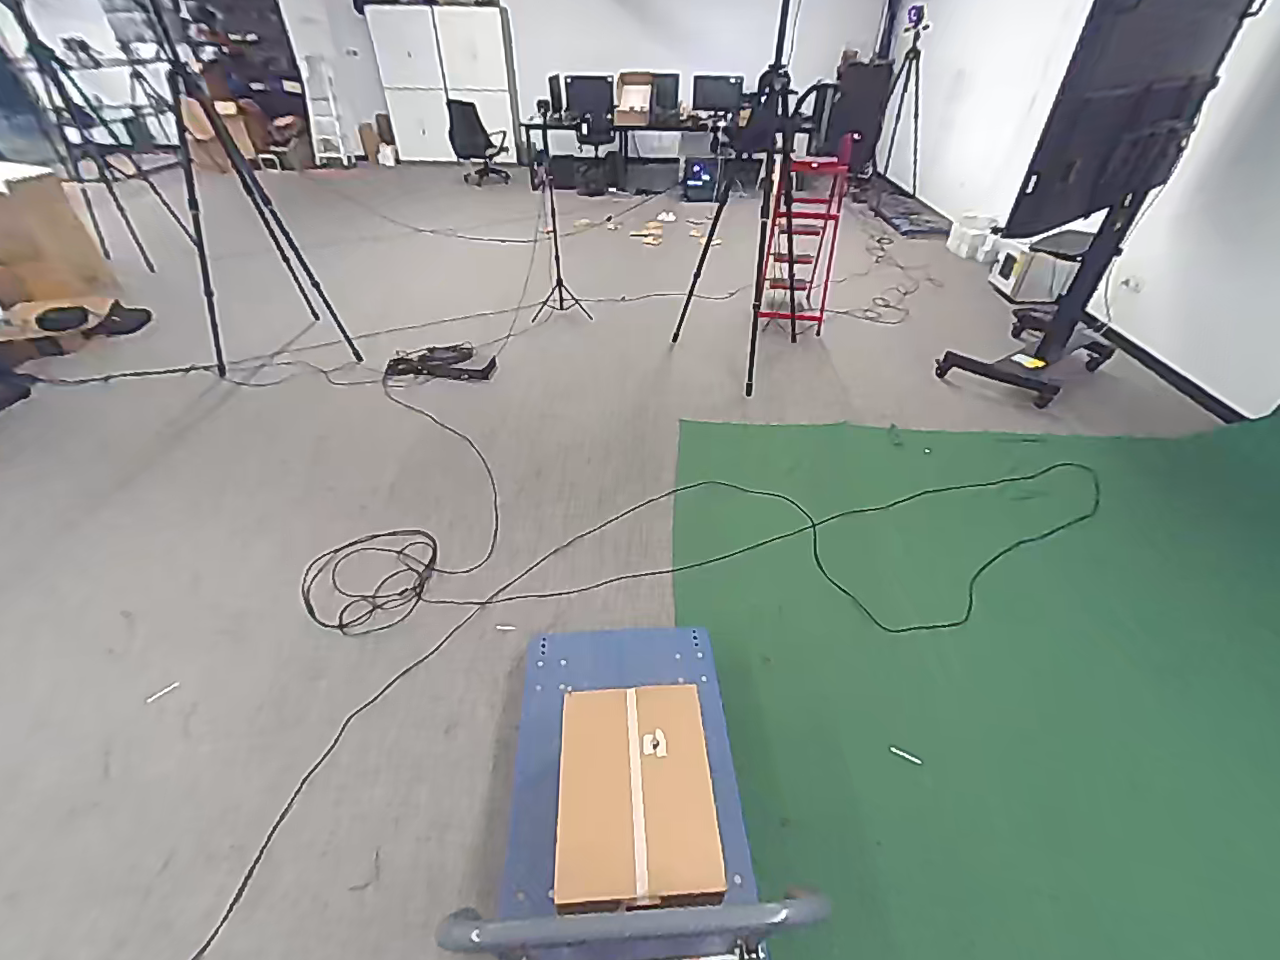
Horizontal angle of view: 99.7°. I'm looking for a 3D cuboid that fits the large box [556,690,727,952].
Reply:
[{"bbox_3d":[-0.010,0.742,1.202,0.320,0.320,0.408,-2,38,-4],"label":"large box"}]
